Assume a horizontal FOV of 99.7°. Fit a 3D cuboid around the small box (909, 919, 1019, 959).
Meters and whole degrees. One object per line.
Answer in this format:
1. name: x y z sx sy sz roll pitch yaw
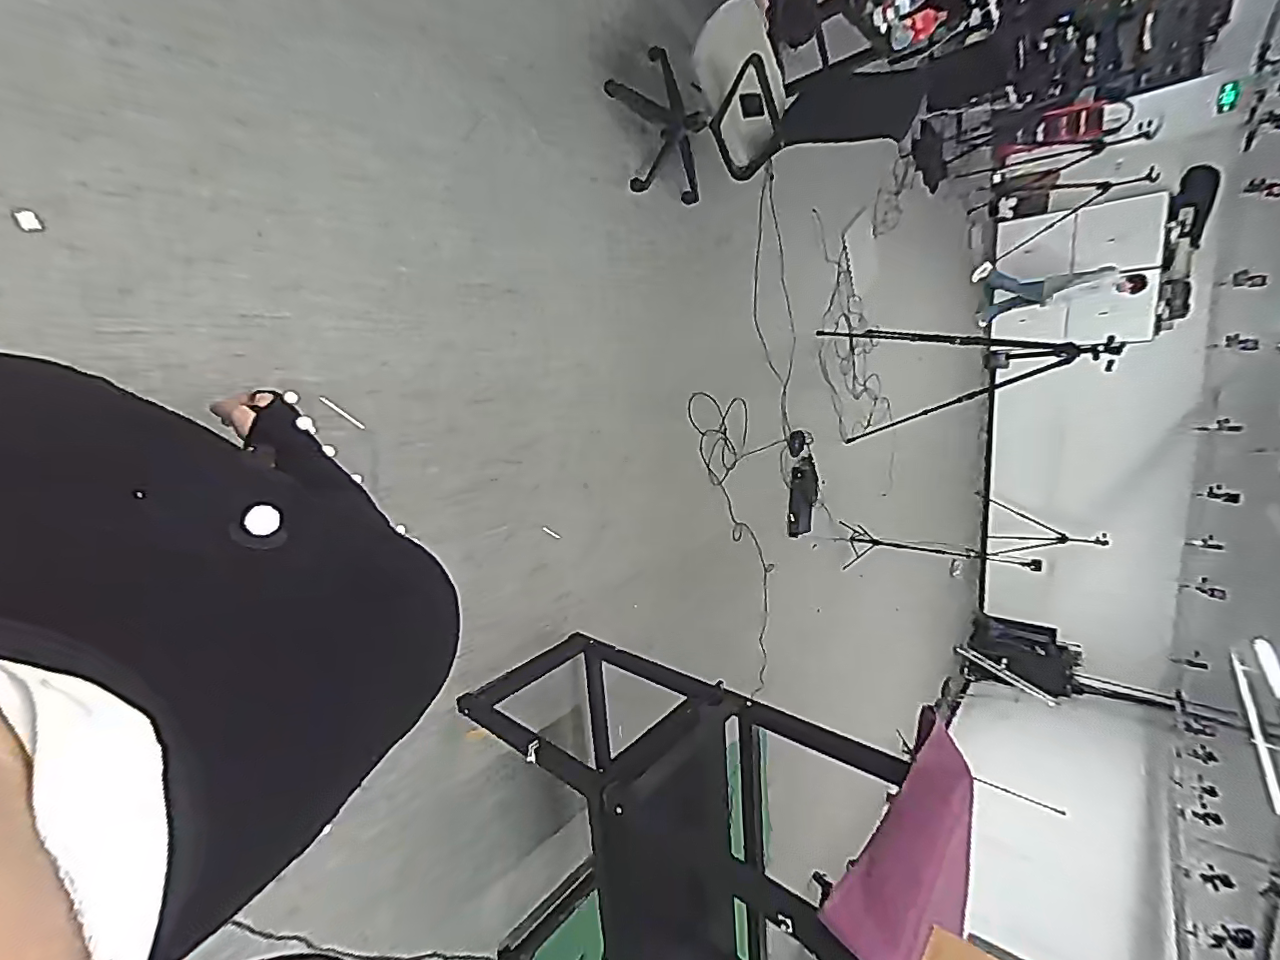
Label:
1. small box: 0.621 1.011 1.050 0.168 0.176 0.179 -13 105 -47
